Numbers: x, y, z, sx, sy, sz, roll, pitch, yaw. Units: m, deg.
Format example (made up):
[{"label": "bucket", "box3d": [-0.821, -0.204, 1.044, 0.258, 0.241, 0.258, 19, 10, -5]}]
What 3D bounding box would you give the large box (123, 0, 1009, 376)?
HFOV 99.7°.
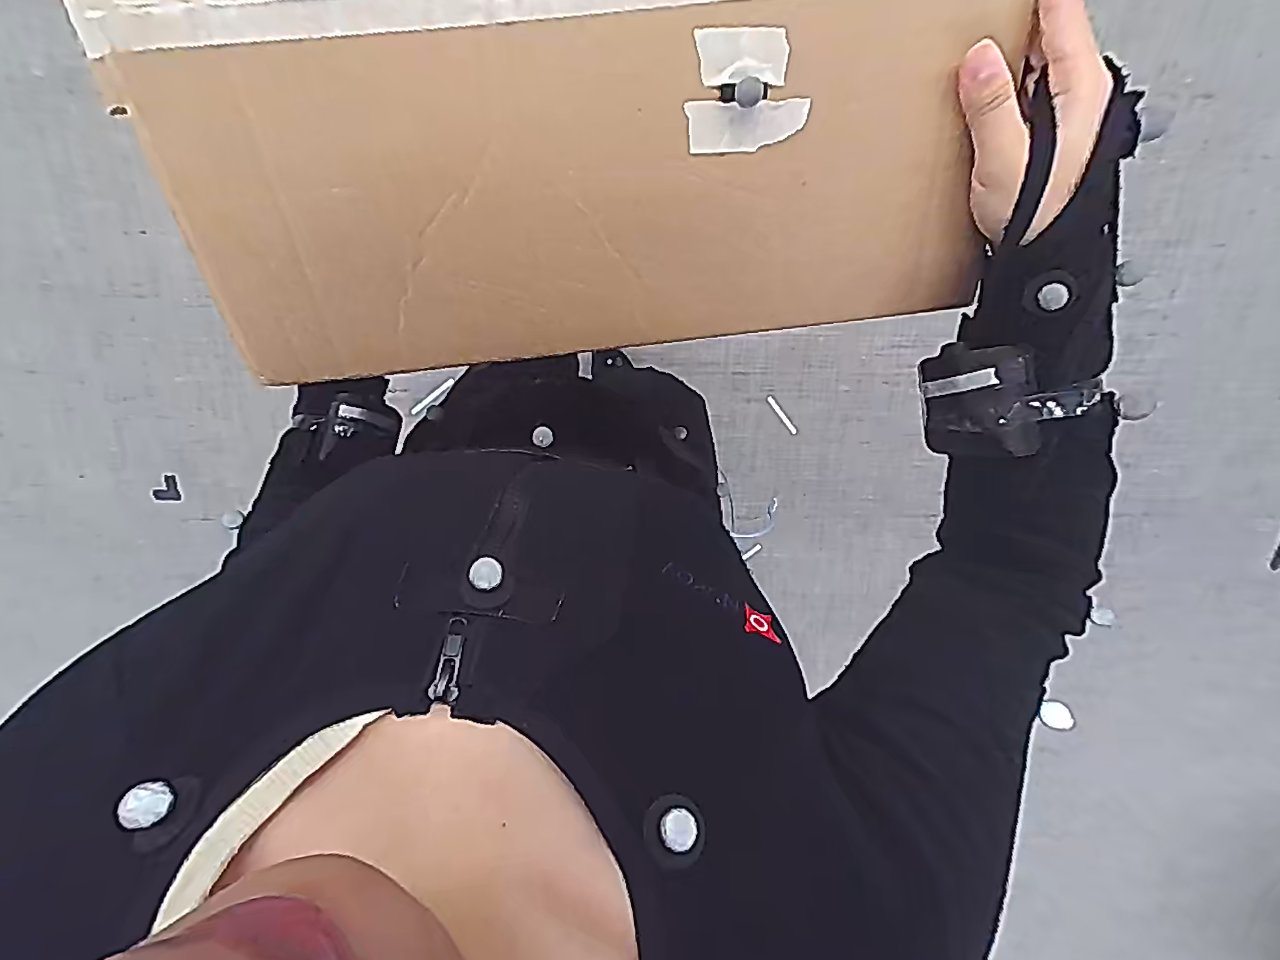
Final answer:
[{"label": "large box", "box3d": [-0.040, -0.289, 0.371, 0.408, 0.320, 0.320, -8, 120, -4]}]
